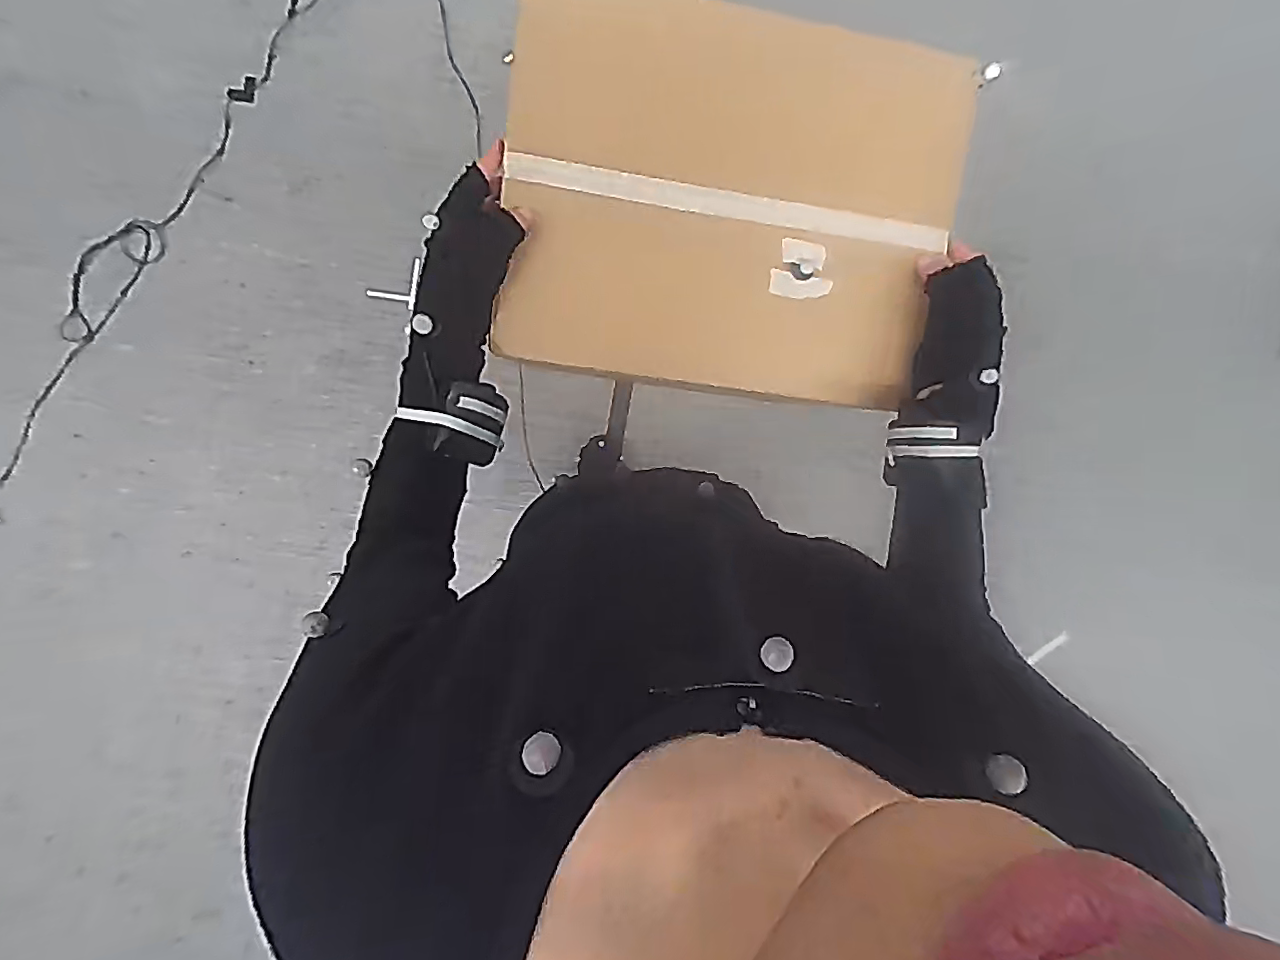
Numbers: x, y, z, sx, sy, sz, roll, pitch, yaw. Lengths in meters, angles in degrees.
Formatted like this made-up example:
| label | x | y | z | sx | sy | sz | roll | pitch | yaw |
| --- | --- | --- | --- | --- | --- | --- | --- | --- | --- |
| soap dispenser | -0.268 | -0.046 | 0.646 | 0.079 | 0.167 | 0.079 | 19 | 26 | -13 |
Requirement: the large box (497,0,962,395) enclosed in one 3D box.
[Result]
| label | x | y | z | sx | sy | sz | roll | pitch | yaw |
| --- | --- | --- | --- | --- | --- | --- | --- | --- | --- |
| large box | 0.063 | -0.273 | 0.630 | 0.408 | 0.320 | 0.320 | 6 | 99 | -8 |
